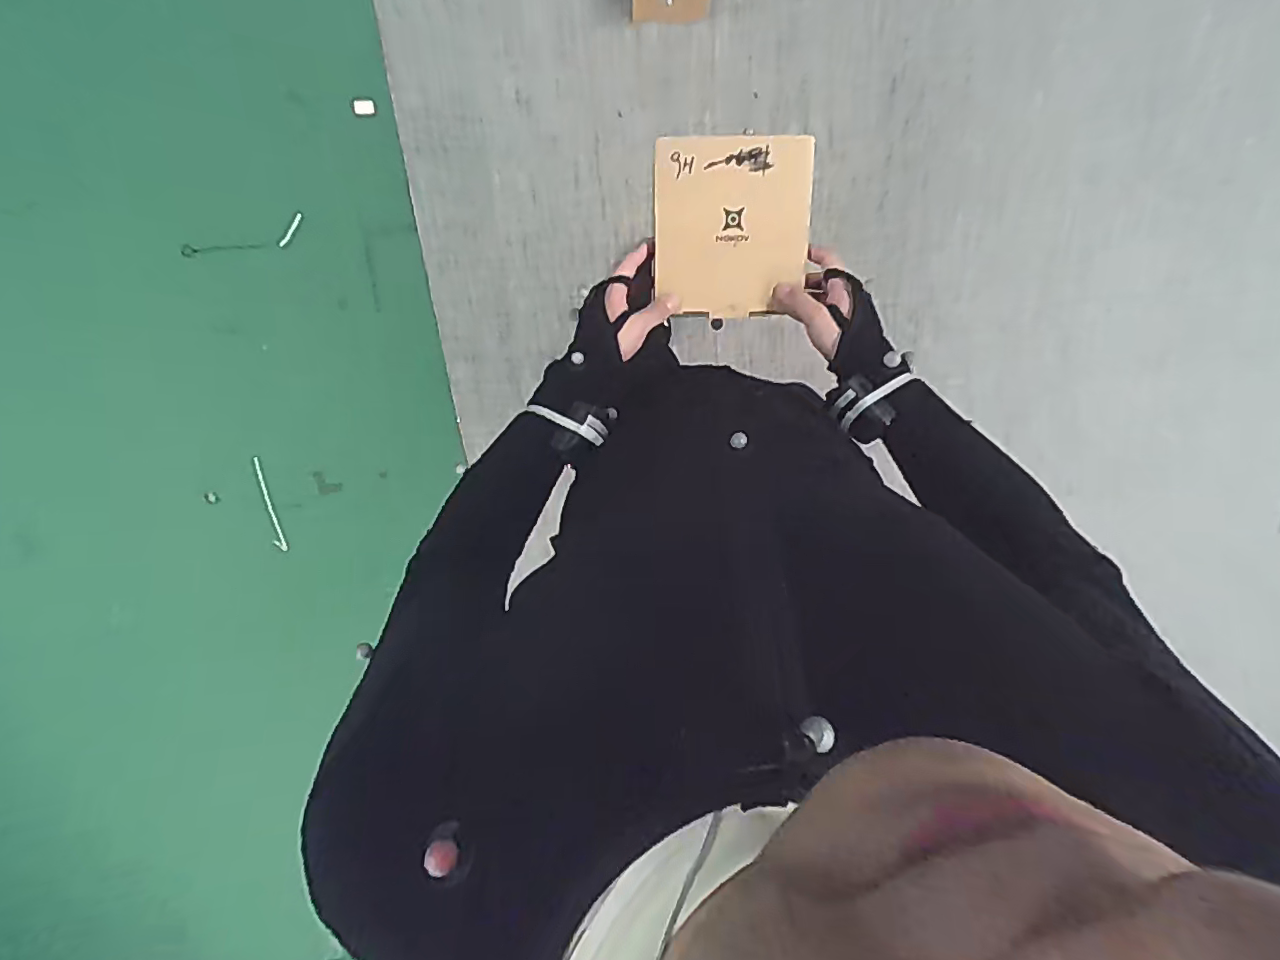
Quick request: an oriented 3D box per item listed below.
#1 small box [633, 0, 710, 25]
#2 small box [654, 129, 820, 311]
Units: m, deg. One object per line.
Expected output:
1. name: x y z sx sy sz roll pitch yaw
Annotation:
1. small box: 0.071 -1.134 1.186 0.179 0.176 0.168 0 110 0
2. small box: 0.102 -0.296 0.648 0.168 0.176 0.179 0 107 0
